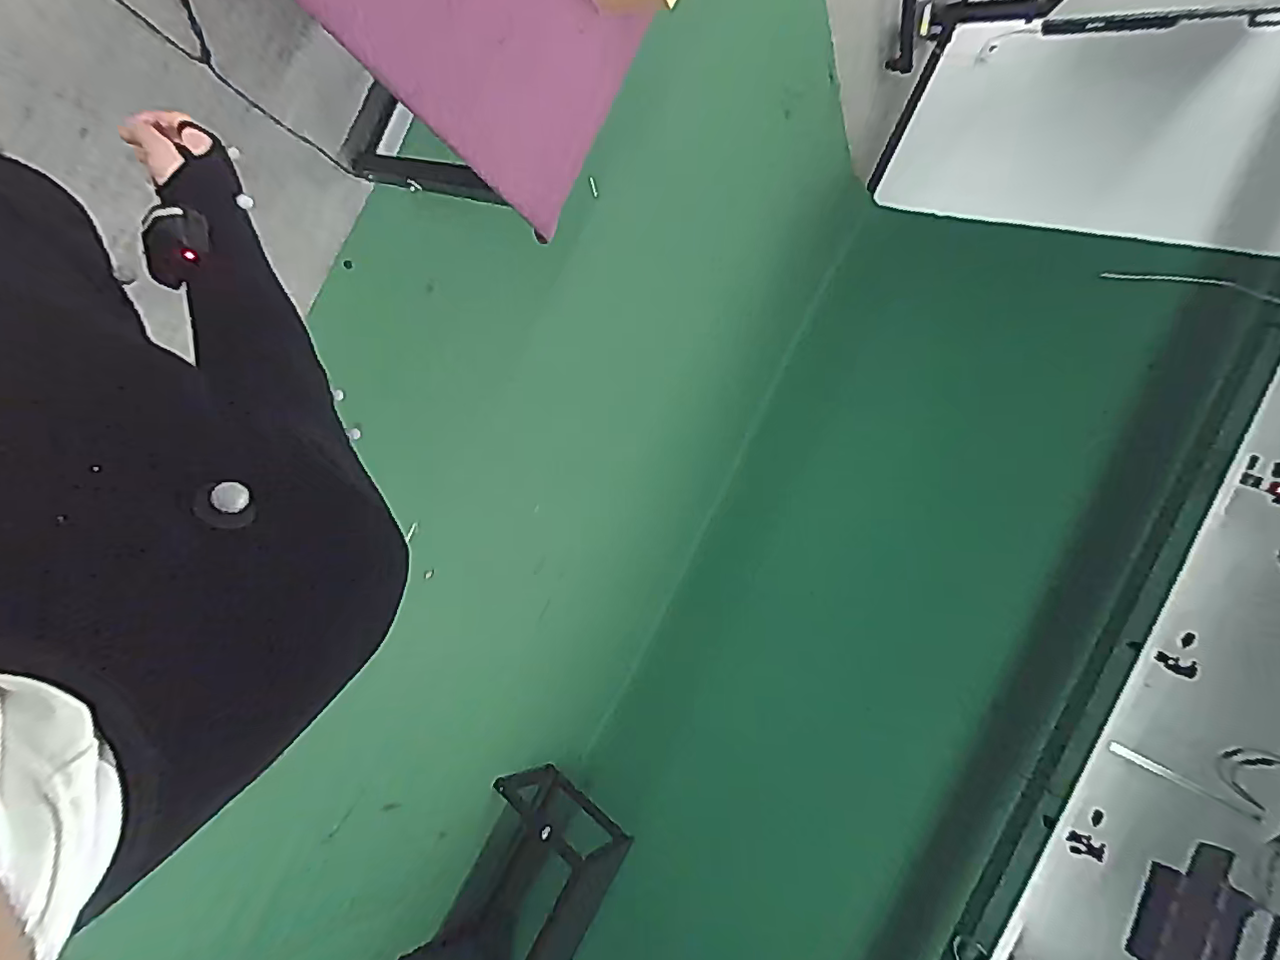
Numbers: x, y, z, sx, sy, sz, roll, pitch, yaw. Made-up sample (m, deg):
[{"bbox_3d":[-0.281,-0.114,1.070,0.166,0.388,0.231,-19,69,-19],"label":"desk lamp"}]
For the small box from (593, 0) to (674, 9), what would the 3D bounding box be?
[{"bbox_3d":[-0.012,-0.936,0.895,0.168,0.176,0.179,22,94,-59],"label":"small box"}]
